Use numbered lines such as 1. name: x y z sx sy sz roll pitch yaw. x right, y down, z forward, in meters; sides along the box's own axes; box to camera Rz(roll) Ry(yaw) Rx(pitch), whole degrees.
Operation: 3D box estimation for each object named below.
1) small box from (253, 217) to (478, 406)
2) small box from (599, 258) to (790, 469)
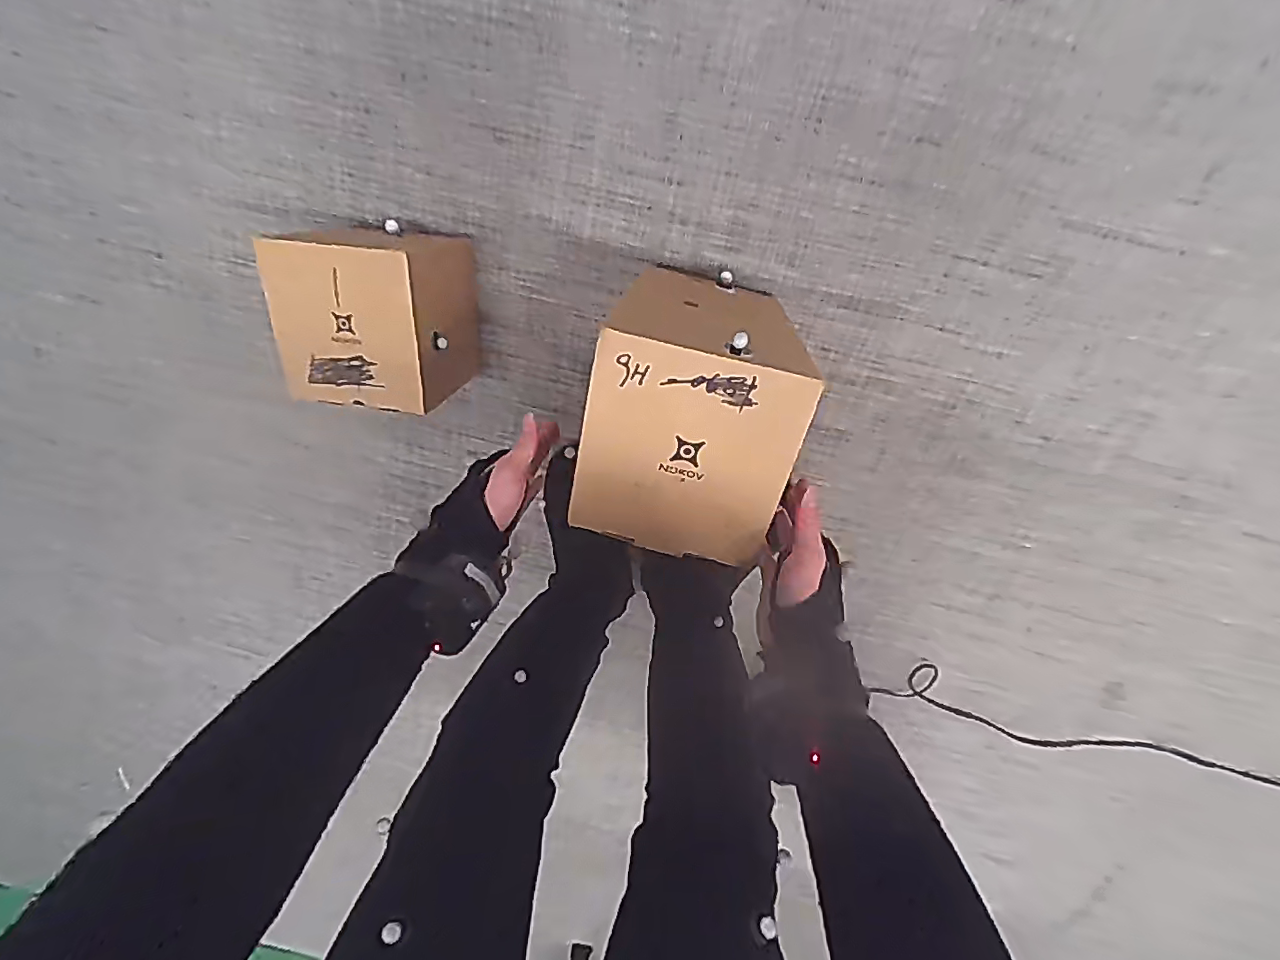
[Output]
1. small box: -0.304 -0.207 0.646 0.168 0.176 0.179 8 119 4
2. small box: 0.060 -0.142 0.629 0.168 0.176 0.179 14 119 0
